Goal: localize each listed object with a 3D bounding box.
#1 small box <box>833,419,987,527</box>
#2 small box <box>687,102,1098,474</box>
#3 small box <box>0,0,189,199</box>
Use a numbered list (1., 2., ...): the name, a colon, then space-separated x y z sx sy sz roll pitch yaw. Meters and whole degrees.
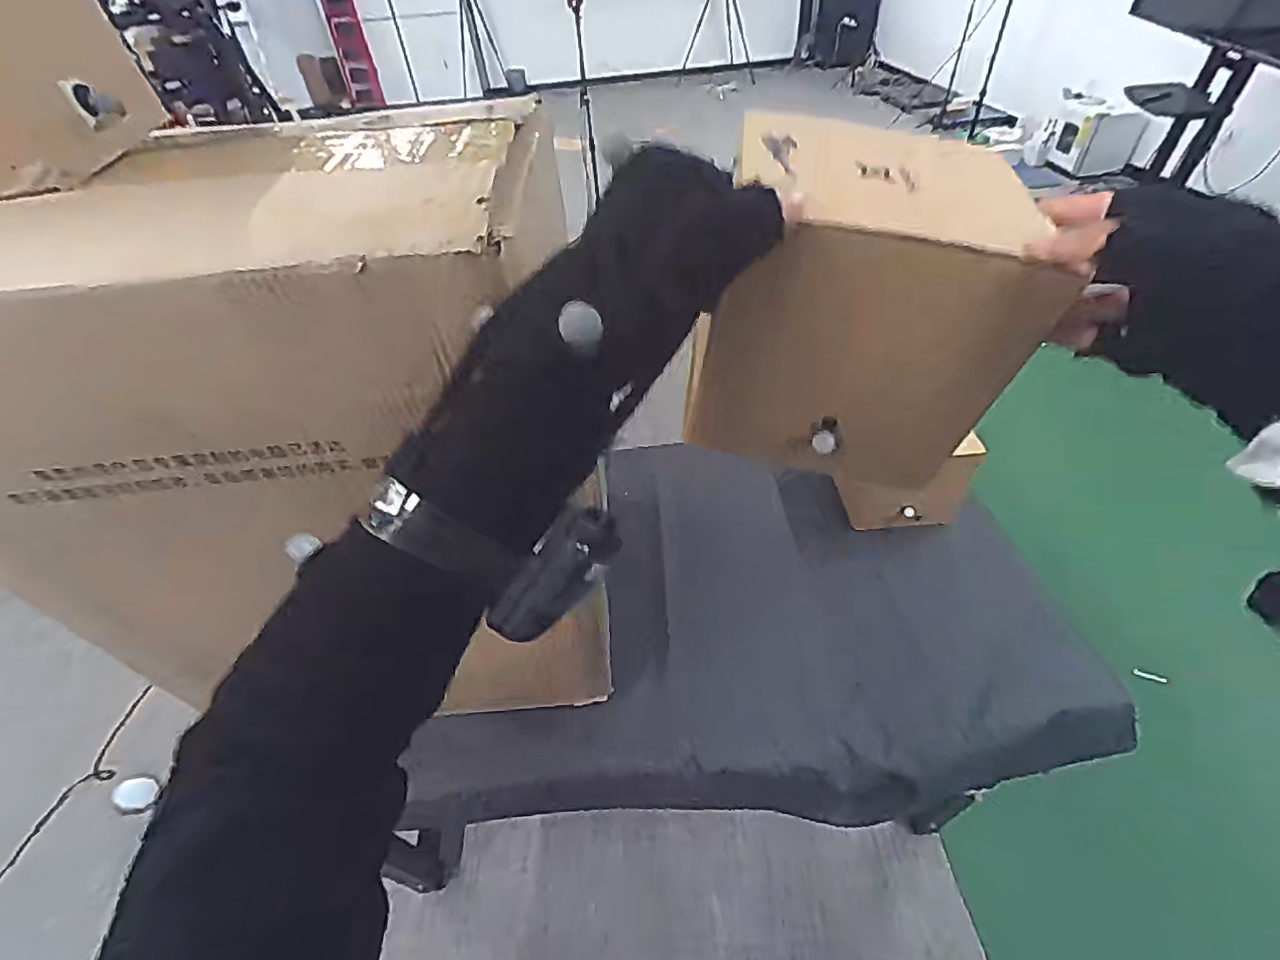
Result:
1. small box: 0.446 -0.040 0.932 0.168 0.176 0.179 -5 46 2
2. small box: 0.140 -0.125 0.373 0.179 0.176 0.168 11 48 0
3. small box: -0.486 -0.311 0.379 0.179 0.176 0.168 -8 51 -4
